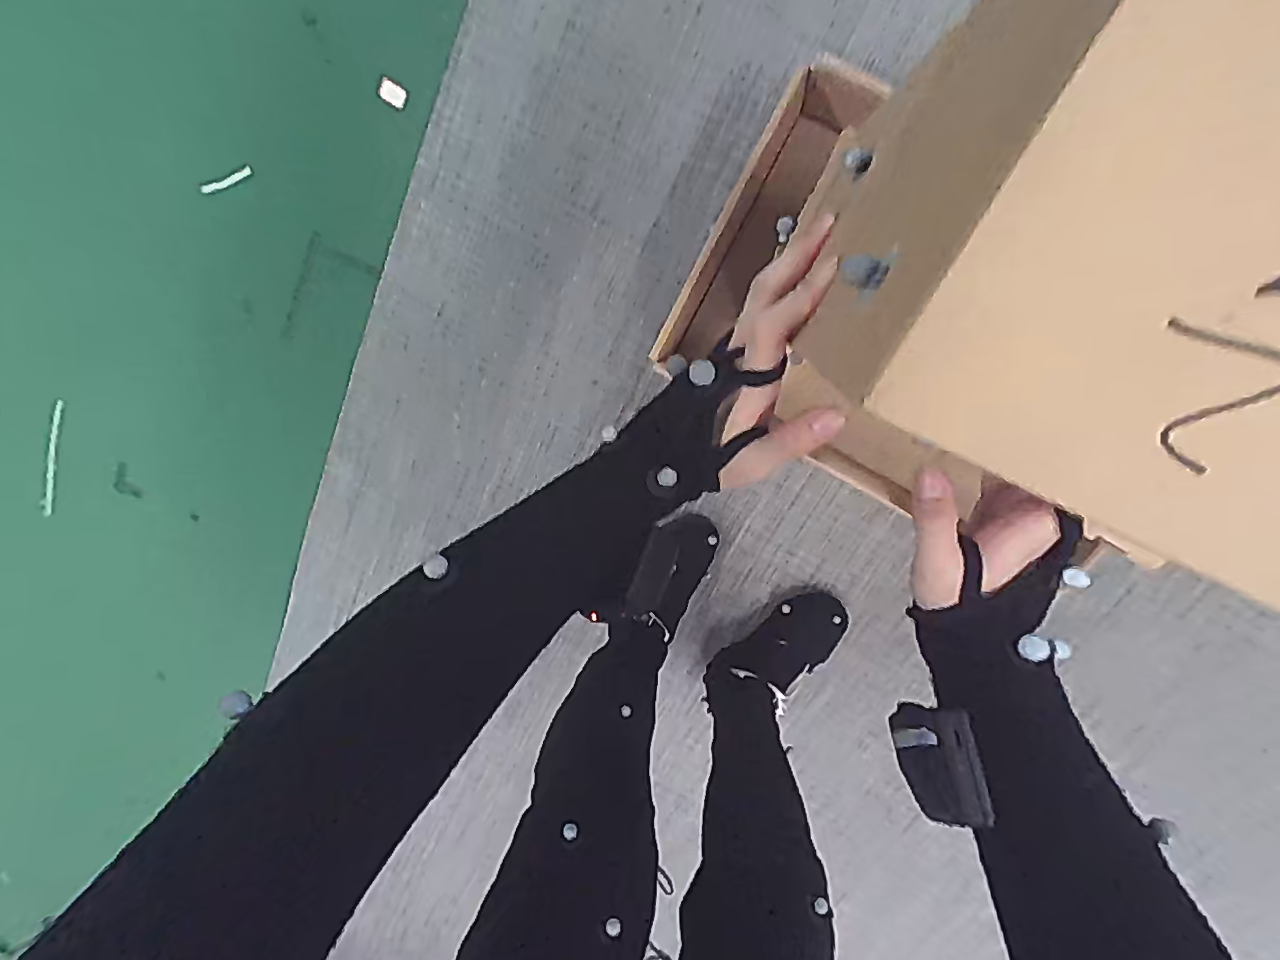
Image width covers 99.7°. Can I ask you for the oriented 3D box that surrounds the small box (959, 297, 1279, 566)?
[{"bbox_3d":[0.449,-0.055,0.528,0.168,0.176,0.179,33,110,2],"label":"small box"}]

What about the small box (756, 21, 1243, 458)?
[{"bbox_3d":[0.196,-0.143,0.363,0.179,0.176,0.168,26,111,-2],"label":"small box"}]
